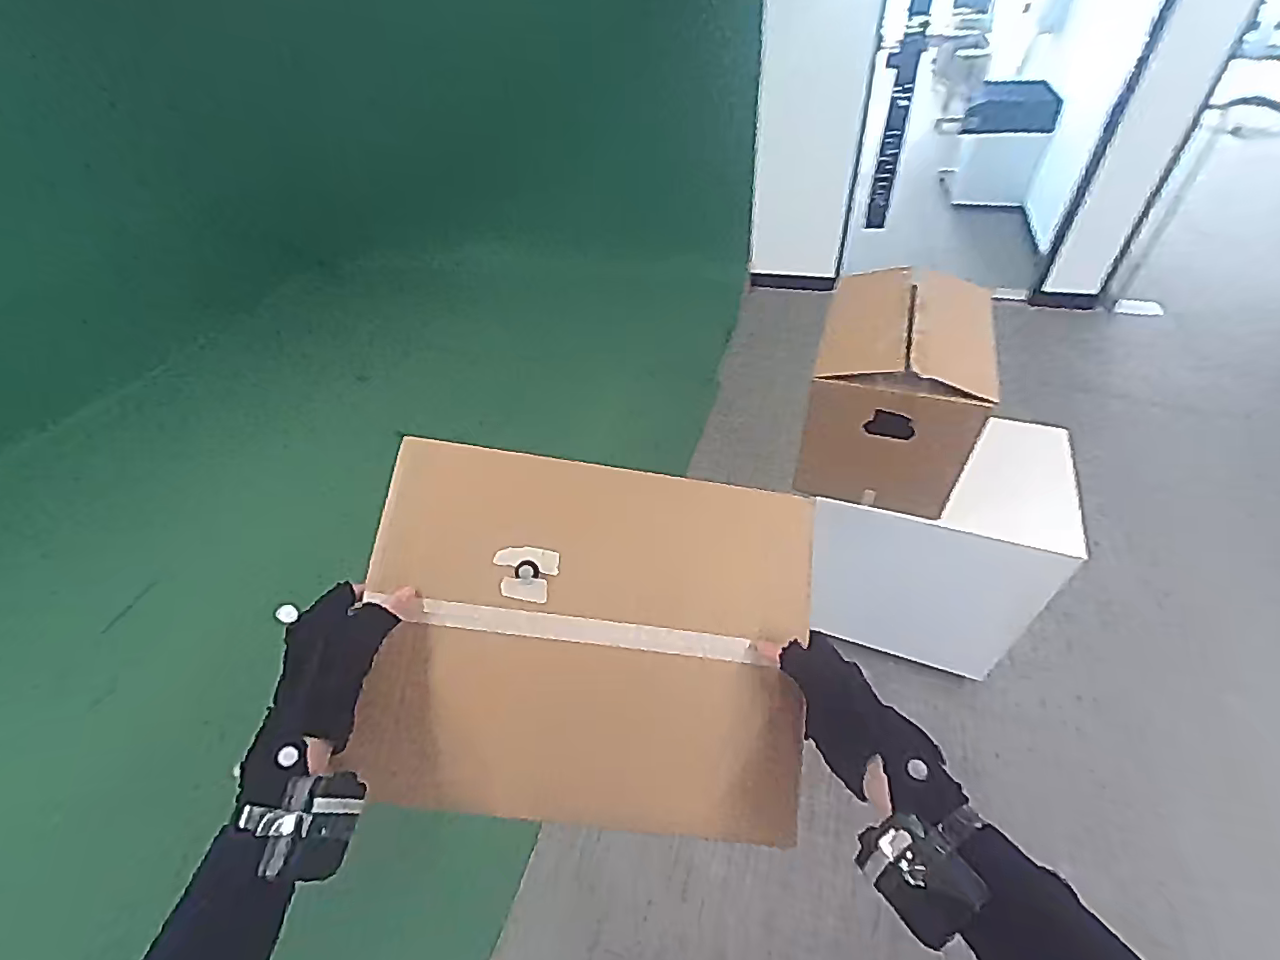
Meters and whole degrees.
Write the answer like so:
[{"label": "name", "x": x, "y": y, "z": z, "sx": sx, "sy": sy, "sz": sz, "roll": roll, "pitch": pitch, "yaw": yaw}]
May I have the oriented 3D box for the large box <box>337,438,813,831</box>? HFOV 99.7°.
[{"label": "large box", "x": -0.051, "y": 0.164, "z": 0.640, "sx": 0.408, "sy": 0.320, "sz": 0.320, "roll": 9, "pitch": 76, "yaw": -3}]
